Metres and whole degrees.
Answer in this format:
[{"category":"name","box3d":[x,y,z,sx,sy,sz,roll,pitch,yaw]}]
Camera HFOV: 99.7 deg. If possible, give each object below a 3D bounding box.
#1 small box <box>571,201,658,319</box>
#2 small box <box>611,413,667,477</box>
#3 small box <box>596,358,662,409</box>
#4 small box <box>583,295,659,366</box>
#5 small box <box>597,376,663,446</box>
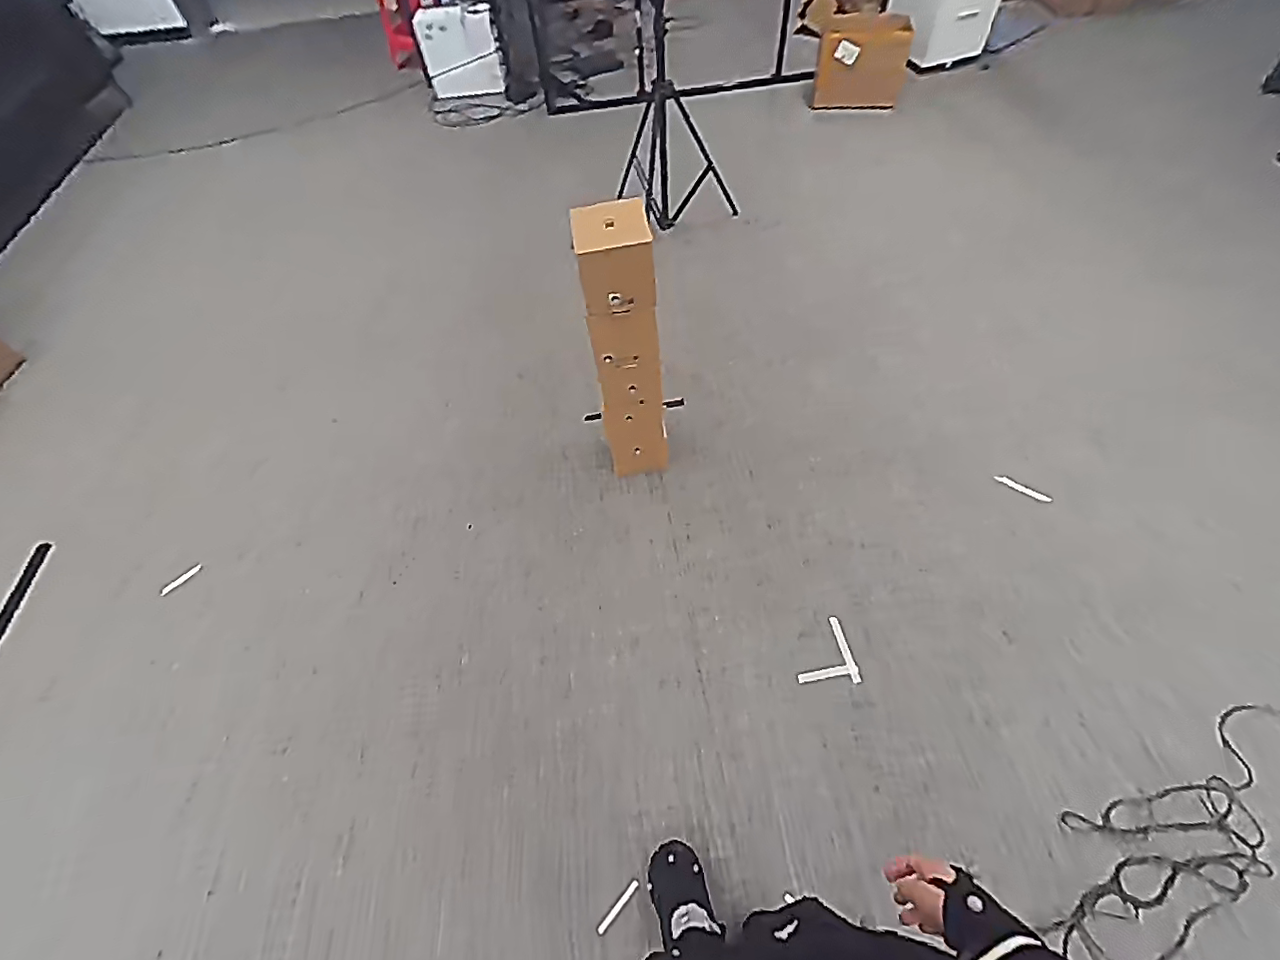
[{"category":"small box","box3d":[-0.056,-0.493,1.220,0.168,0.176,0.179,-10,57,0]},{"category":"small box","box3d":[-0.008,-0.129,1.761,0.179,0.176,0.168,-9,56,-1]},{"category":"small box","box3d":[-0.031,-0.310,1.489,0.168,0.176,0.179,-7,57,0]},{"category":"small box","box3d":[-0.046,-0.402,1.354,0.168,0.176,0.179,-8,55,0]},{"category":"small box","box3d":[-0.027,-0.216,1.623,0.179,0.176,0.168,-7,57,1]}]
